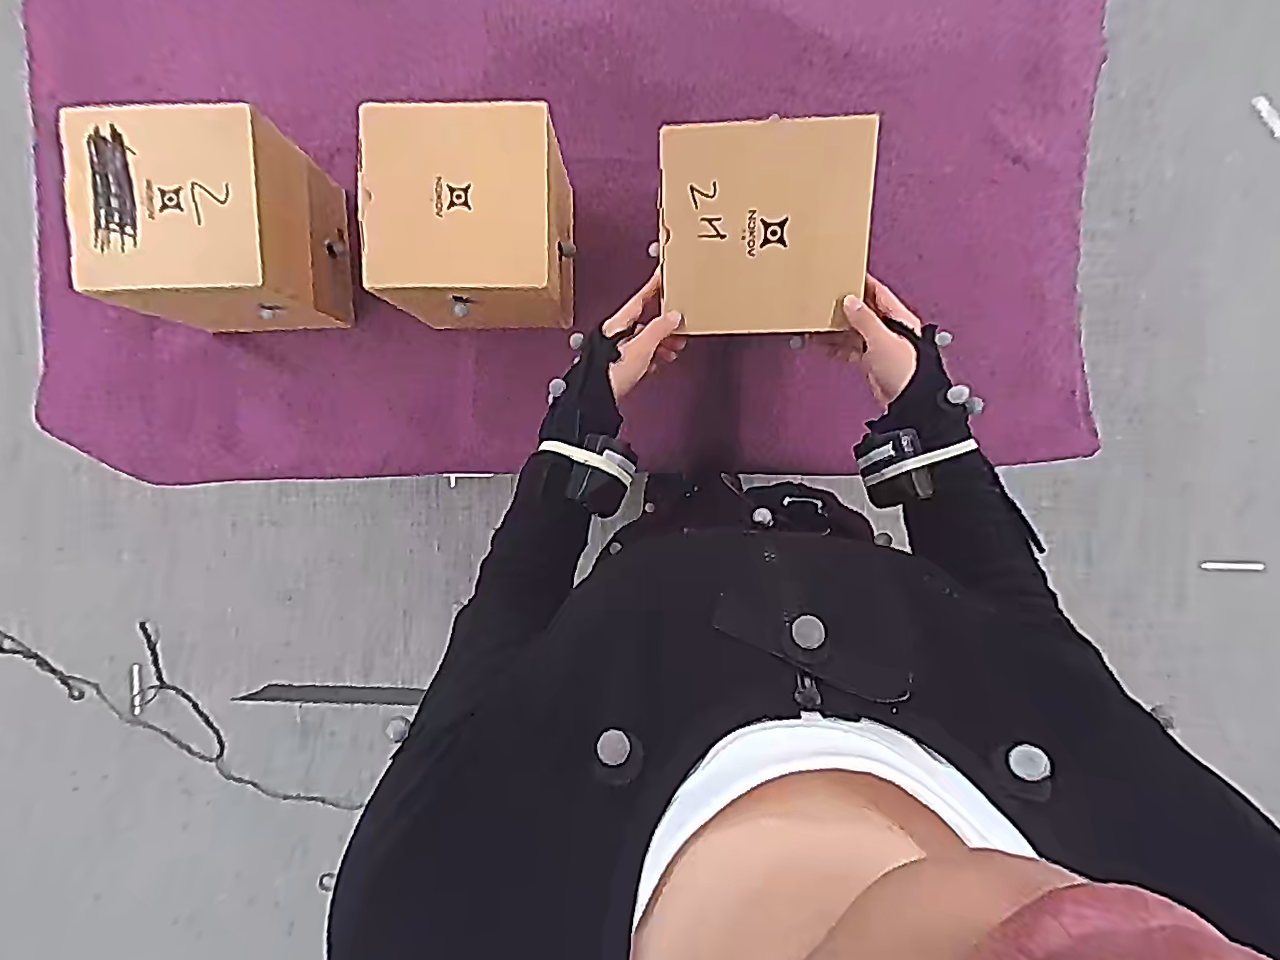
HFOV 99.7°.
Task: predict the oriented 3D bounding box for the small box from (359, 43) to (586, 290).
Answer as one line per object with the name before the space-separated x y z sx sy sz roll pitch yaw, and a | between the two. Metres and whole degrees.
small box | -0.149 -0.295 0.543 0.179 0.176 0.168 0 97 2
